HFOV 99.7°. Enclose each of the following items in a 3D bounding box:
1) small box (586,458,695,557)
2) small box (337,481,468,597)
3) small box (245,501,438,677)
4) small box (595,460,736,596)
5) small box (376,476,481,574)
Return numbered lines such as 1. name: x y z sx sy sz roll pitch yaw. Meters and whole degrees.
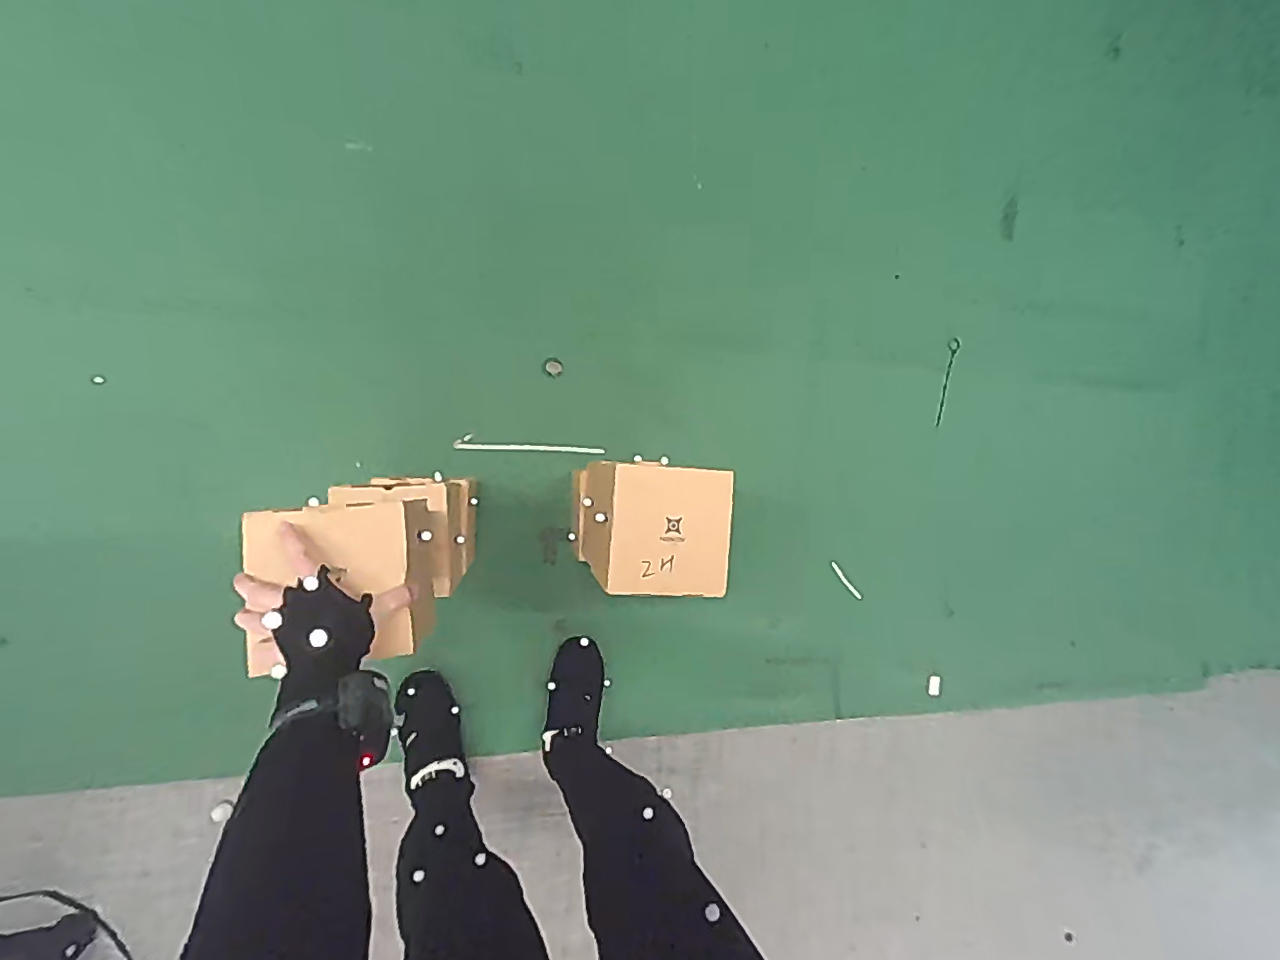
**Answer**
1. small box: -0.002 0.057 0.959 0.168 0.176 0.179 4 90 -12
2. small box: -0.379 0.091 0.884 0.168 0.176 0.179 -2 91 -11
3. small box: -0.352 0.123 0.666 0.168 0.176 0.179 -5 87 -12
4. small box: 0.029 0.064 0.797 0.168 0.176 0.179 4 91 -12
5. small box: -0.402 0.082 1.047 0.168 0.176 0.179 1 90 -11
